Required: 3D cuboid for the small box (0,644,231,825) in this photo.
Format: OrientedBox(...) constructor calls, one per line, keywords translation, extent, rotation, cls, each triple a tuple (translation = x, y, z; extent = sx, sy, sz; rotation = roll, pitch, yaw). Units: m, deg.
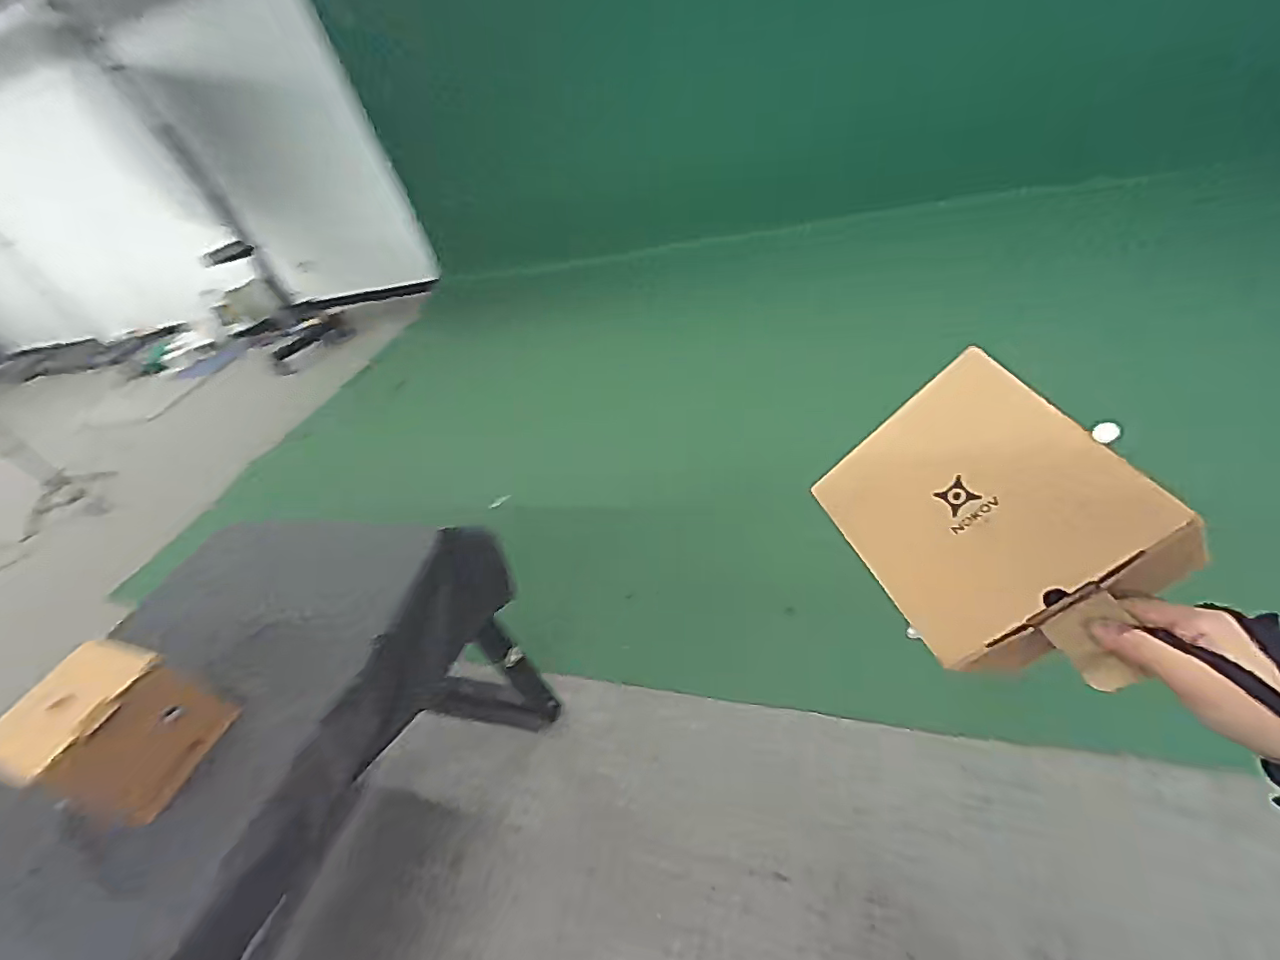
OrientedBox(translation=(-0.741, 0.358, 0.762), extent=(0.179, 0.176, 0.168), rotation=(1, 43, 24), cls="small box")
